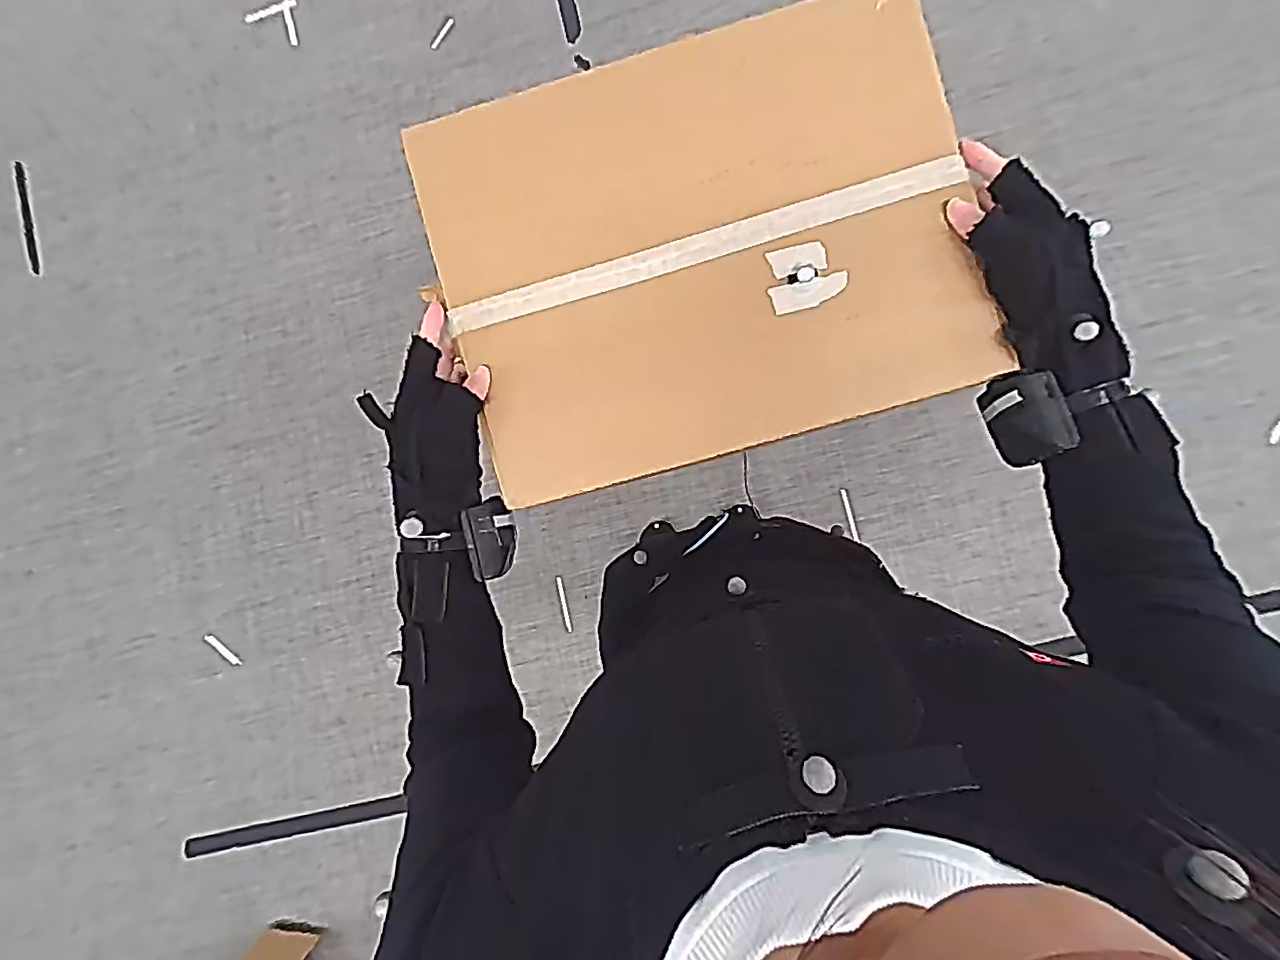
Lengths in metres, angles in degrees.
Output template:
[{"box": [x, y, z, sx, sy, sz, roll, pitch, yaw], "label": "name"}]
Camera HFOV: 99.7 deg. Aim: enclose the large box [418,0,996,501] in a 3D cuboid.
[{"box": [0.053, -0.184, 0.577, 0.408, 0.320, 0.320, -16, 91, 2], "label": "large box"}]
